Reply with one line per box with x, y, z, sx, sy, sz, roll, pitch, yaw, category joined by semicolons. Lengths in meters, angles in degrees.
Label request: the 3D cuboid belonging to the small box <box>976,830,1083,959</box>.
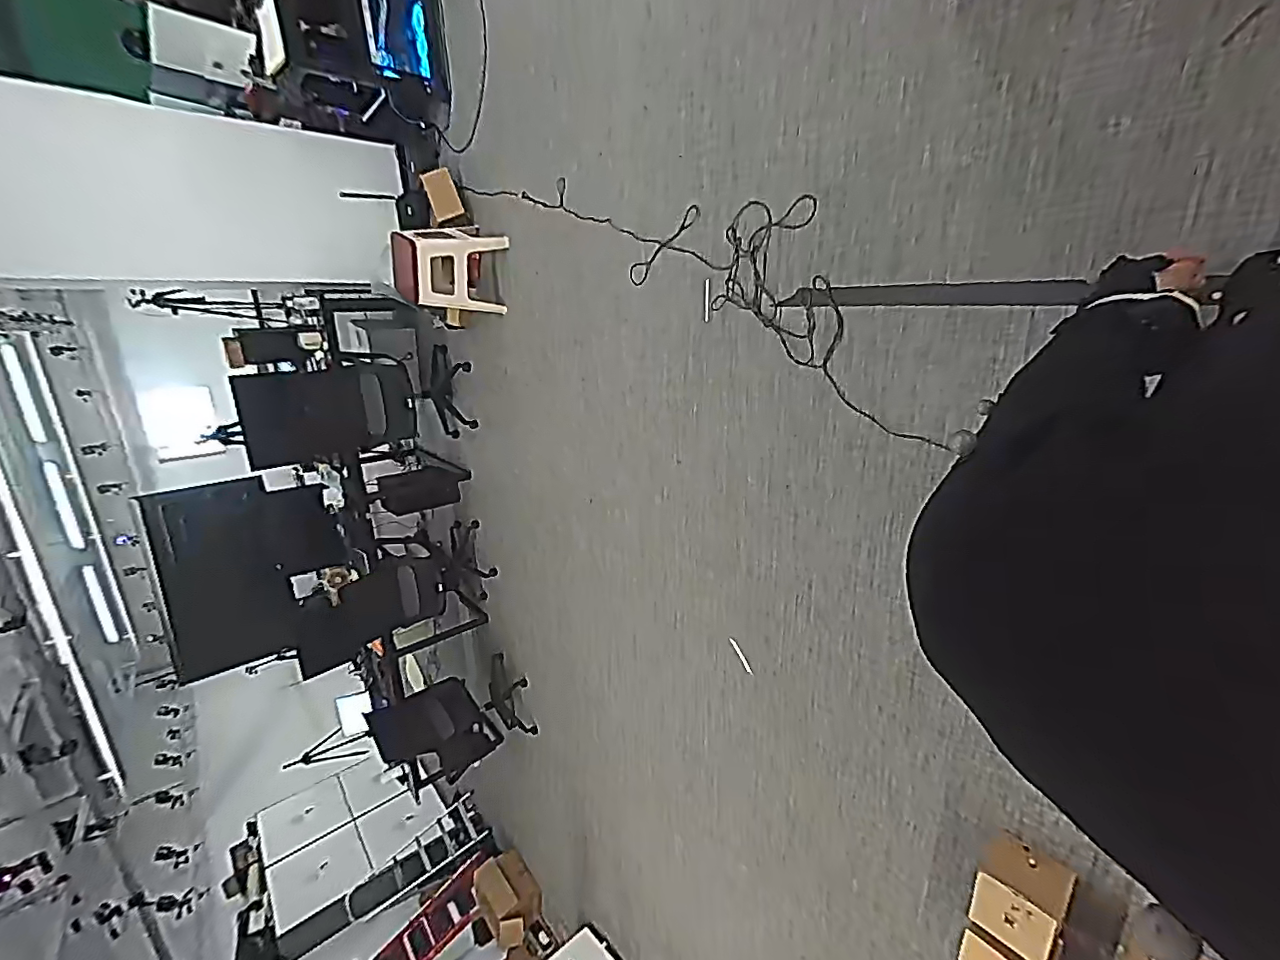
0.979;1.042;1.359;0.168;0.176;0.179;18;116;48;small box
